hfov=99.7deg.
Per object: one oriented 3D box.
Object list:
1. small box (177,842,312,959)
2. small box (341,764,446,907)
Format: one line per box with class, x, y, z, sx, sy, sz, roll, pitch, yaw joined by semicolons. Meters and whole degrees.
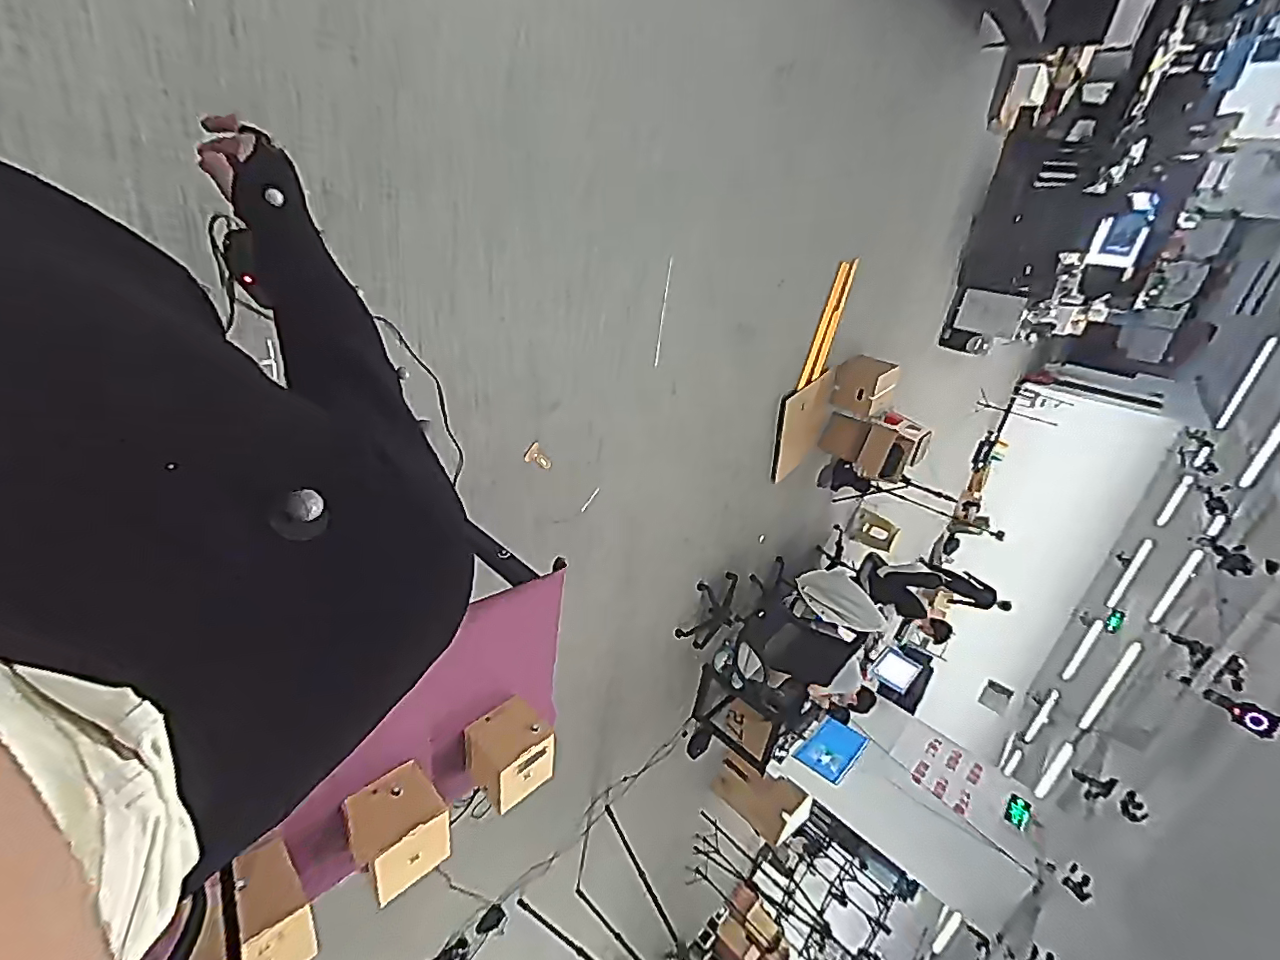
small box;-0.752;0.853;1.034;0.168;0.176;0.179;-17;124;-45
small box;-0.560;0.799;1.234;0.168;0.176;0.179;-18;124;-43
